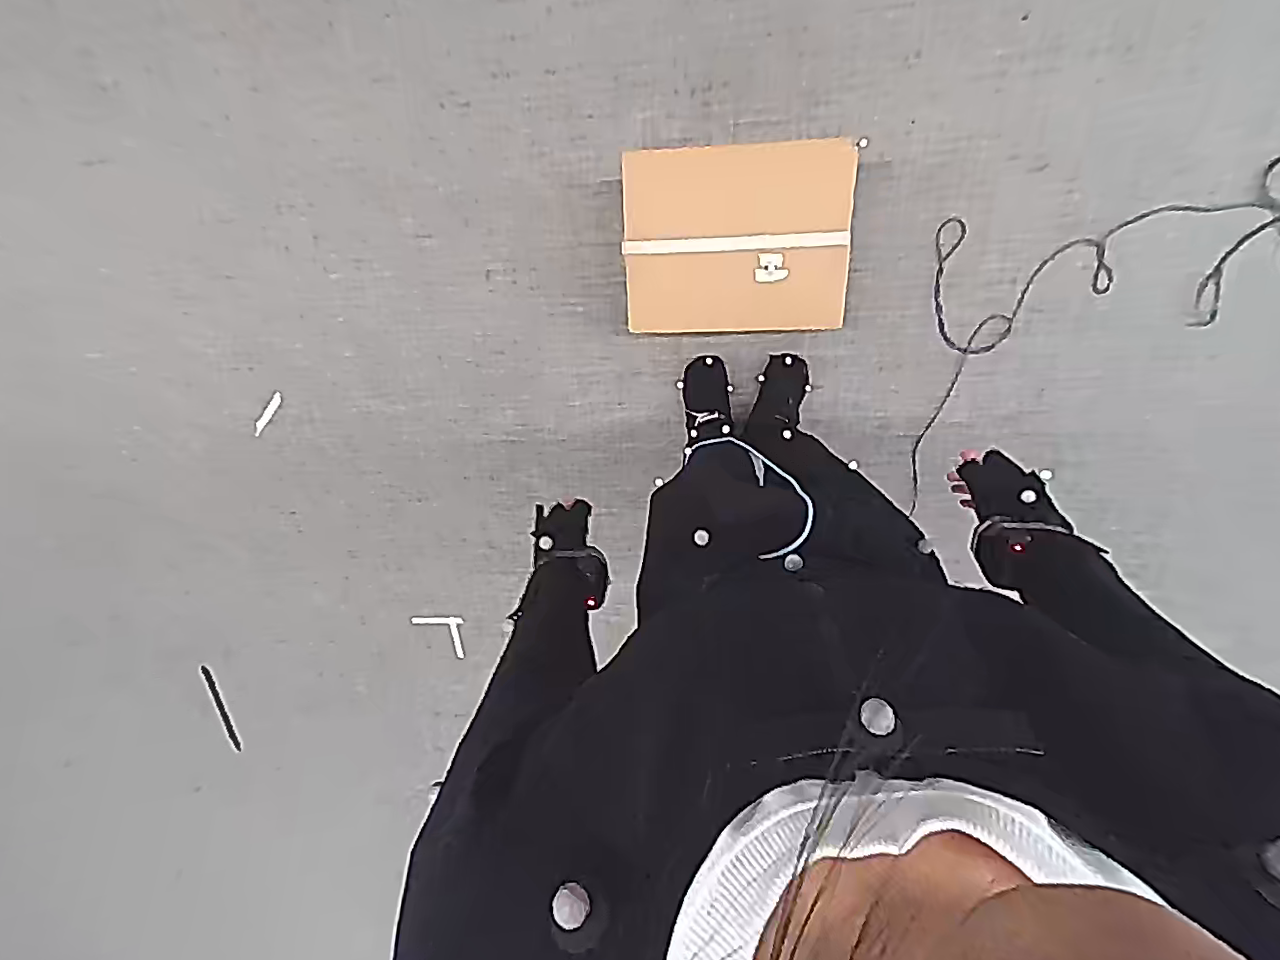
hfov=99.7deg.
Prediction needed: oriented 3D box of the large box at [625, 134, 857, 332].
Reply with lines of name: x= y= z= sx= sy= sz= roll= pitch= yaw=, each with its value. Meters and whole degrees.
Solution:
large box: x=0.191 y=-0.488 z=1.122 sx=0.408 sy=0.320 sz=0.320 roll=0 pitch=111 yaw=7
